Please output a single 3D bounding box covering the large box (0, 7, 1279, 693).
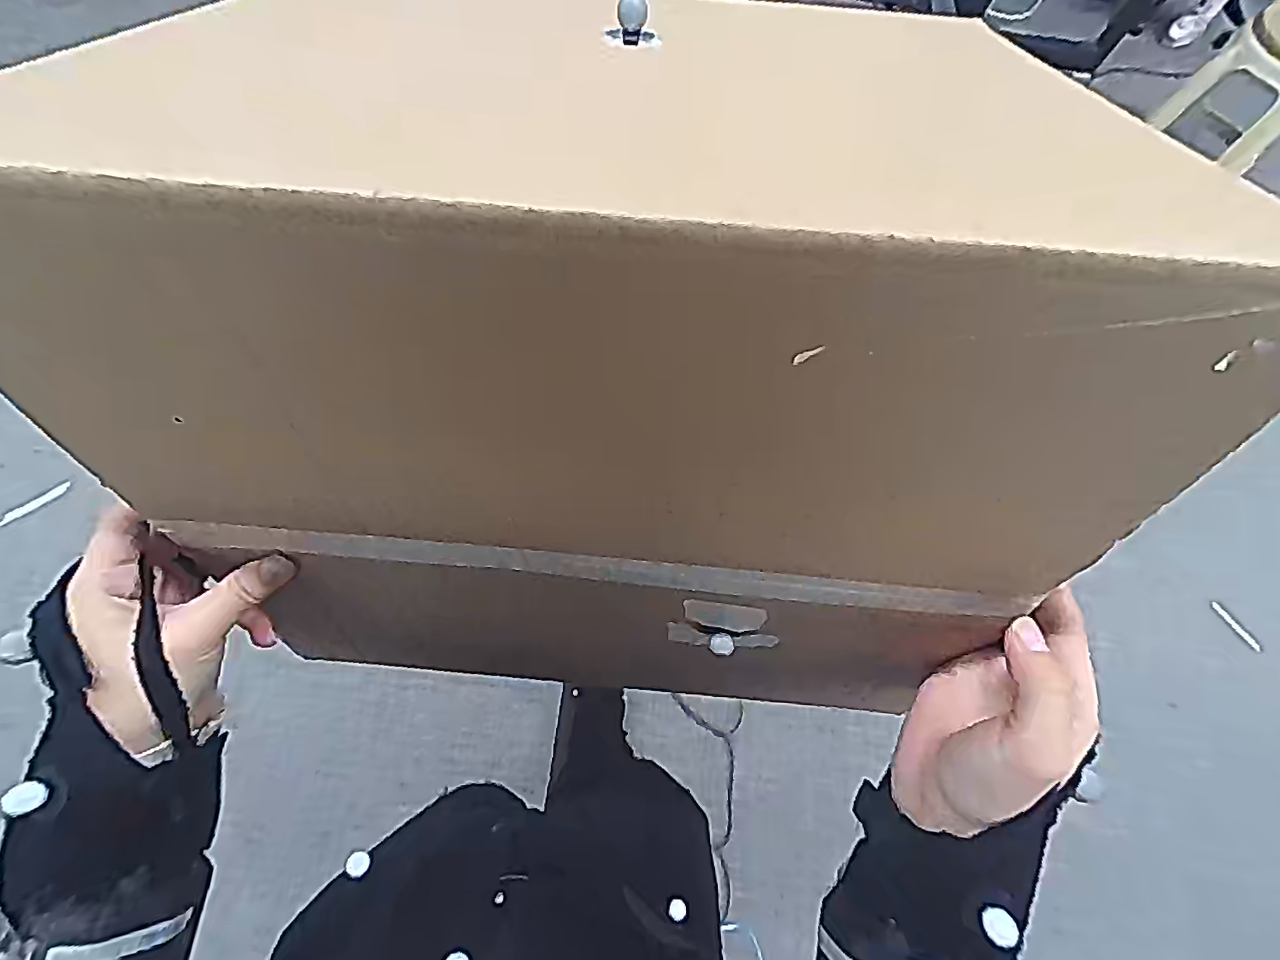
[{"bbox_3d":[-0.013,-0.080,0.355,0.408,0.320,0.320,4,51,1],"label":"large box"}]
